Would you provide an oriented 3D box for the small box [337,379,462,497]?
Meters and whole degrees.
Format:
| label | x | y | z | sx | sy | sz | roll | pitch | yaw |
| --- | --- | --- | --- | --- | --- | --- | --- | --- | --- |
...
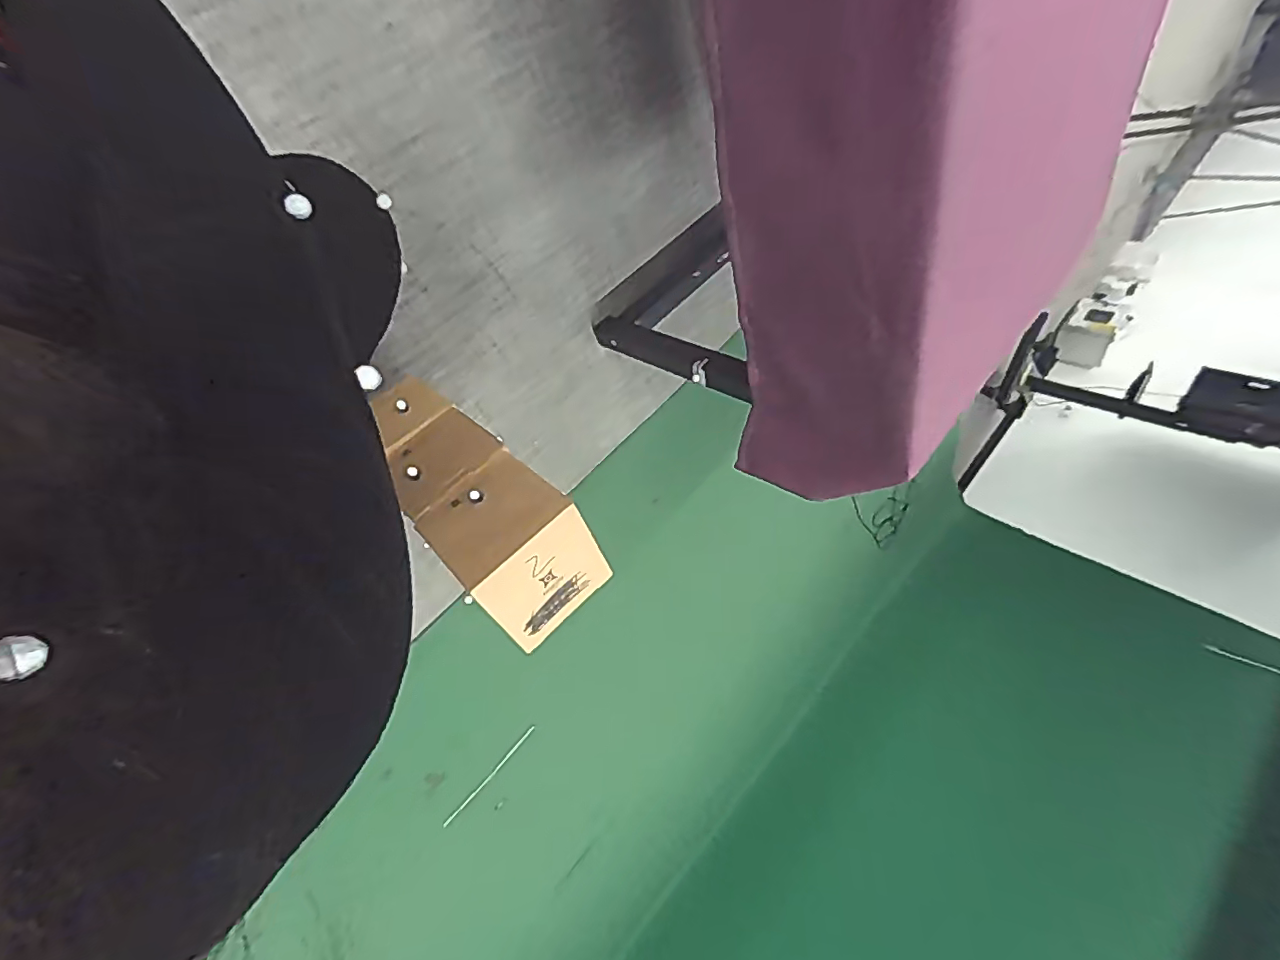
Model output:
| label | x | y | z | sx | sy | sz | roll | pitch | yaw |
| --- | --- | --- | --- | --- | --- | --- | --- | --- | --- |
| small box | -0.397 | -0.061 | 0.962 | 0.168 | 0.176 | 0.179 | -42 | 140 | -21 |

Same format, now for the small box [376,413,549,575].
| label | x | y | z | sx | sy | sz | roll | pitch | yaw |
| --- | --- | --- | --- | --- | --- | --- | --- | --- | --- |
| small box | -0.285 | 0.013 | 0.869 | 0.168 | 0.176 | 0.179 | -43 | 141 | -18 |
